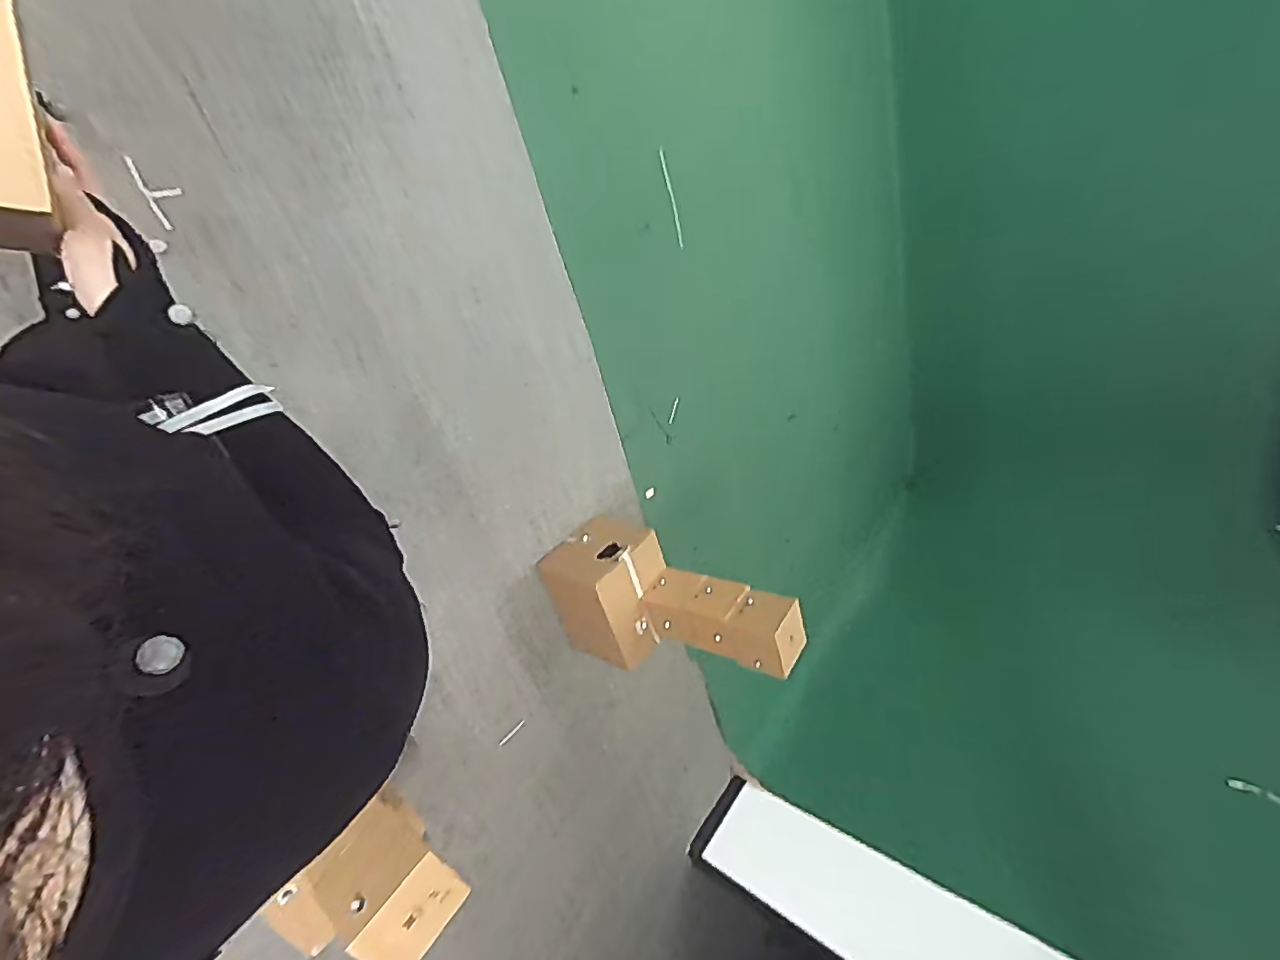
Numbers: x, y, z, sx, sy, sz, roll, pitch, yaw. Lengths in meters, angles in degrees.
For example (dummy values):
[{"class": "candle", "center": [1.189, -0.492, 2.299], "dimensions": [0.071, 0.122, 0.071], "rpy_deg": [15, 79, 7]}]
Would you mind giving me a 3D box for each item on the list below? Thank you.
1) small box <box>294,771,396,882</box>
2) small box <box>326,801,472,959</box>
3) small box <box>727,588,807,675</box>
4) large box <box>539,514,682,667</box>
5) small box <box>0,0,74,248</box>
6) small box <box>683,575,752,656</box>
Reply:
[{"class": "small box", "center": [-0.589, 0.756, 1.146], "dimensions": [0.168, 0.176, 0.179], "rpy_deg": [-44, 125, -35]}, {"class": "small box", "center": [-0.467, 0.768, 1.035], "dimensions": [0.179, 0.176, 0.168], "rpy_deg": [-44, 126, -35]}, {"class": "small box", "center": [0.388, 0.456, 1.653], "dimensions": [0.168, 0.176, 0.179], "rpy_deg": [-40, 122, -40]}, {"class": "large box", "center": [-0.100, 0.386, 1.960], "dimensions": [0.320, 0.320, 0.408], "rpy_deg": [-40, 124, -36]}, {"class": "small box", "center": [-0.458, -0.246, 0.307], "dimensions": [0.168, 0.176, 0.179], "rpy_deg": [-11, 107, -41]}, {"class": "small box", "center": [0.266, 0.434, 1.760], "dimensions": [0.168, 0.176, 0.179], "rpy_deg": [-42, 123, -38]}]
